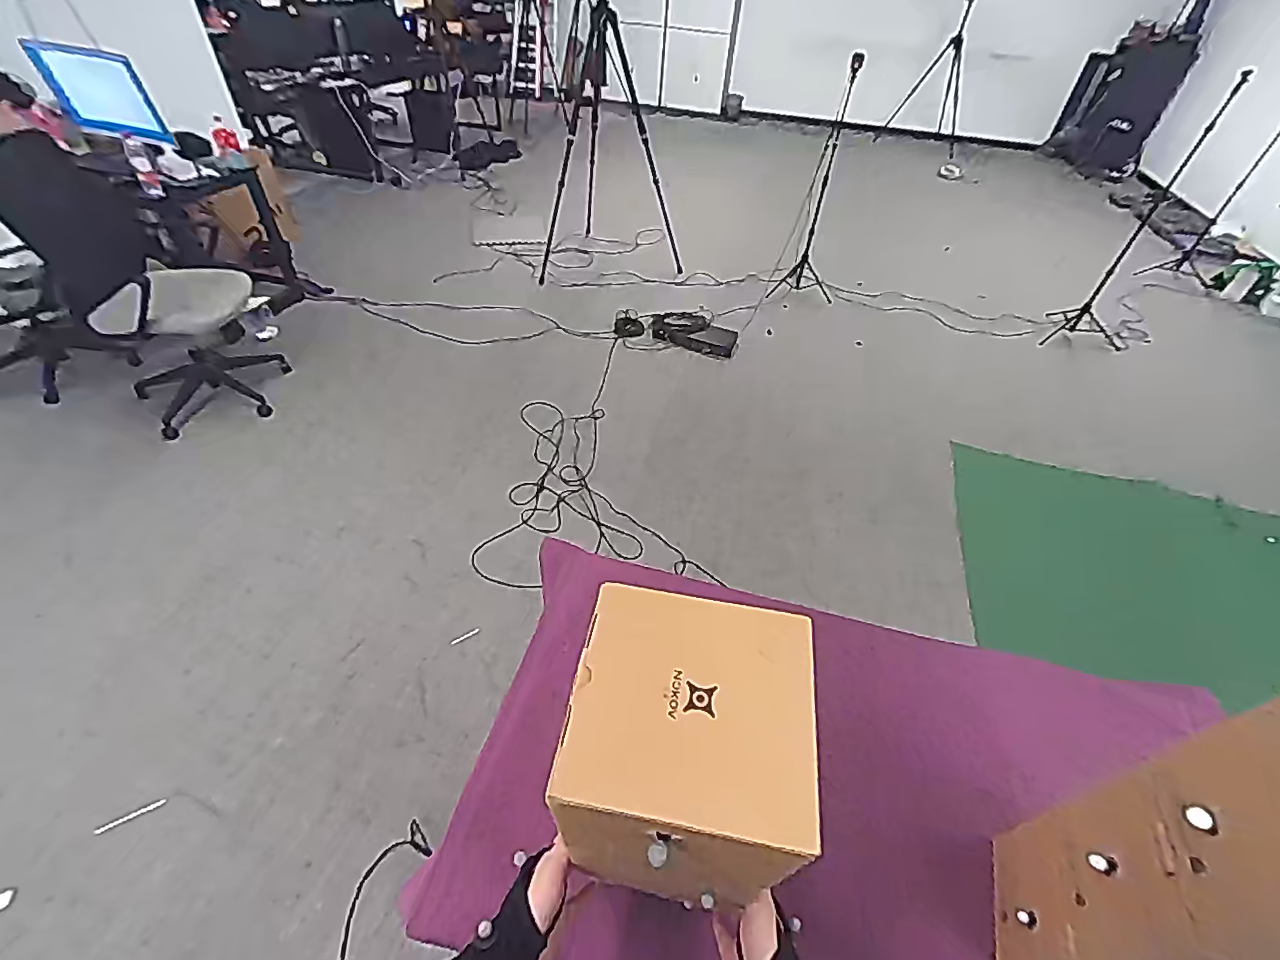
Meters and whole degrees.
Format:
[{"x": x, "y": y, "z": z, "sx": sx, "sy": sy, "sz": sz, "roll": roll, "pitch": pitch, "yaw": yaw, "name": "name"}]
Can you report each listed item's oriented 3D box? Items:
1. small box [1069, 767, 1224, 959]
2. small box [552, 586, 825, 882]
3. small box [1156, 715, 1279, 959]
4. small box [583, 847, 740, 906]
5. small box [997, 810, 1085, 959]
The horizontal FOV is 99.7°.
[{"x": 0.576, "y": 0.434, "z": 0.547, "sx": 0.179, "sy": 0.176, "sz": 0.168, "roll": 18, "pitch": 46, "yaw": 14, "name": "small box"}, {"x": 0.041, "y": 0.214, "z": 0.449, "sx": 0.179, "sy": 0.176, "sz": 0.168, "roll": 8, "pitch": 48, "yaw": 6, "name": "small box"}, {"x": 0.588, "y": 0.315, "z": 0.434, "sx": 0.179, "sy": 0.176, "sz": 0.168, "roll": 17, "pitch": 45, "yaw": 13, "name": "small box"}, {"x": 0.036, "y": 0.427, "z": 0.699, "sx": 0.179, "sy": 0.176, "sz": 0.168, "roll": 10, "pitch": 47, "yaw": 7, "name": "small box"}, {"x": 0.567, "y": 0.551, "z": 0.661, "sx": 0.179, "sy": 0.176, "sz": 0.168, "roll": 21, "pitch": 46, "yaw": 15, "name": "small box"}]
